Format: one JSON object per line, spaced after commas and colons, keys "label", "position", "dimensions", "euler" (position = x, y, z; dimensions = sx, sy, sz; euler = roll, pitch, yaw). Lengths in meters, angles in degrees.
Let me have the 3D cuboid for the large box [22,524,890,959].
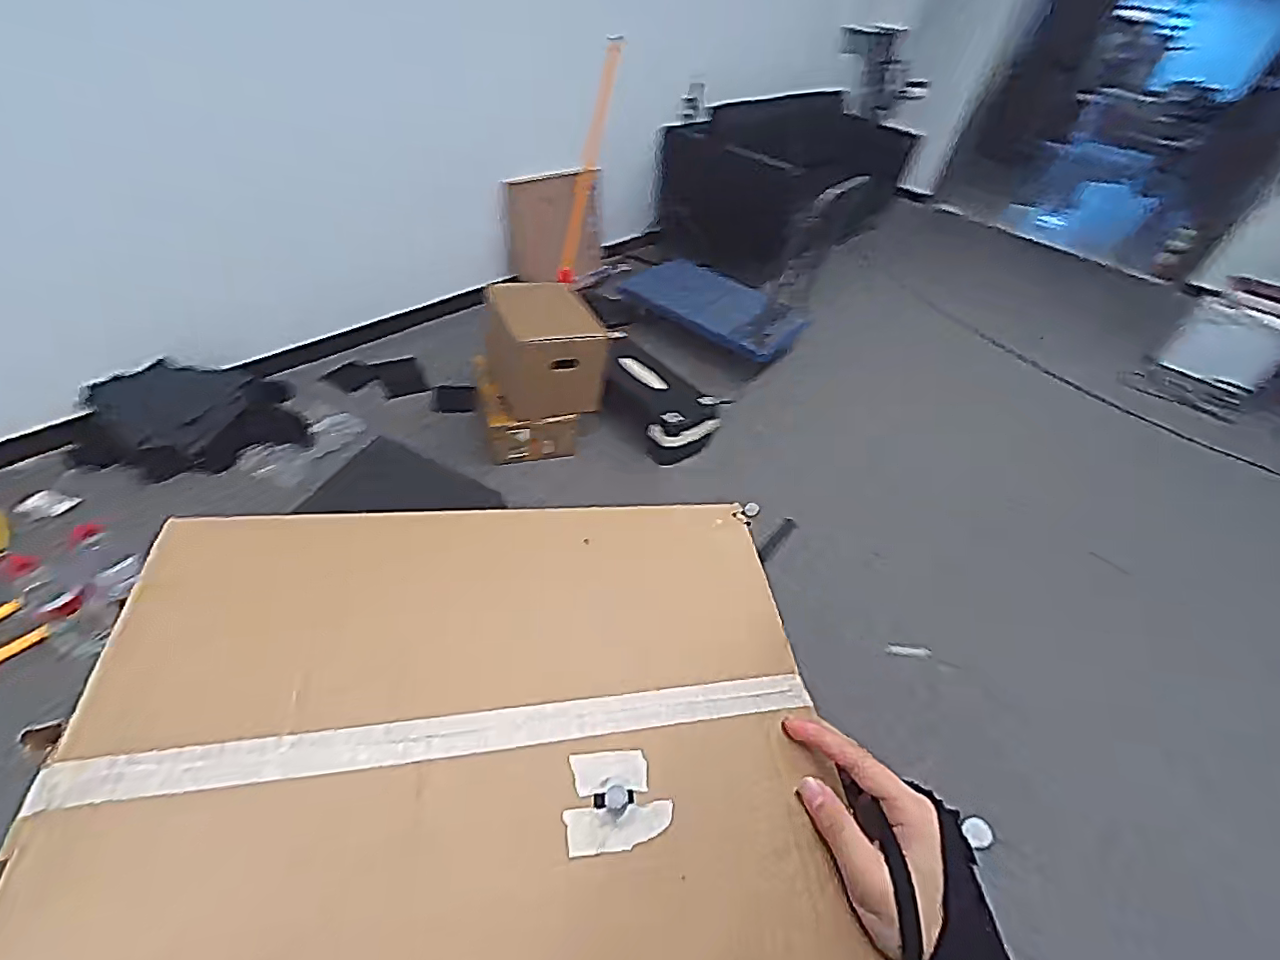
{"label": "large box", "position": [-0.110, 0.250, 0.428], "dimensions": [0.408, 0.320, 0.320], "euler": [1, 51, -14]}
